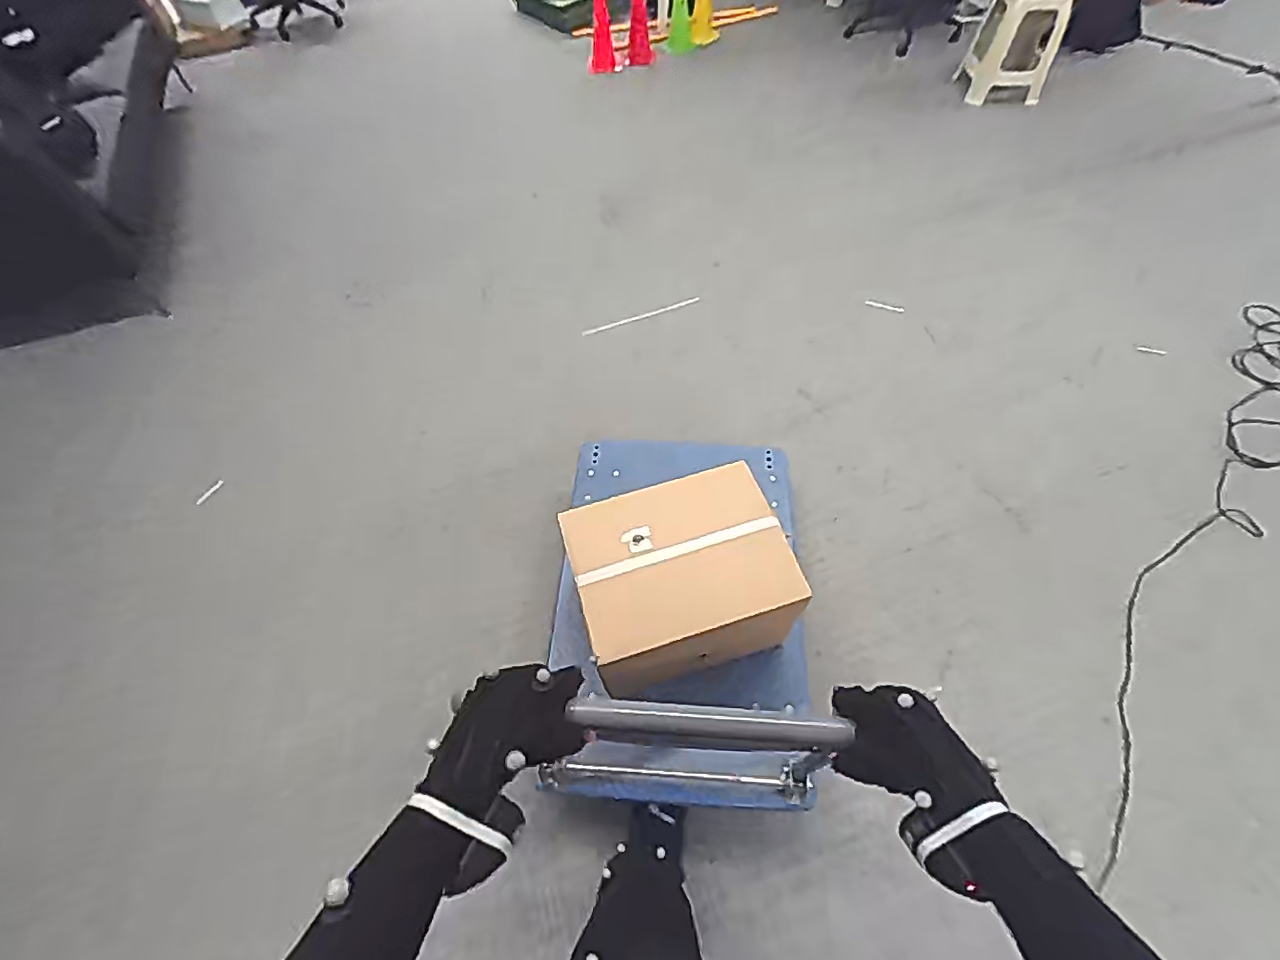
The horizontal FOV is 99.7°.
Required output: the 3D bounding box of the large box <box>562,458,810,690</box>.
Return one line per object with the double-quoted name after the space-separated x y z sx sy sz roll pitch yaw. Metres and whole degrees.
0.086 0.210 1.155 0.408 0.320 0.320 -17 58 -6 "large box"
